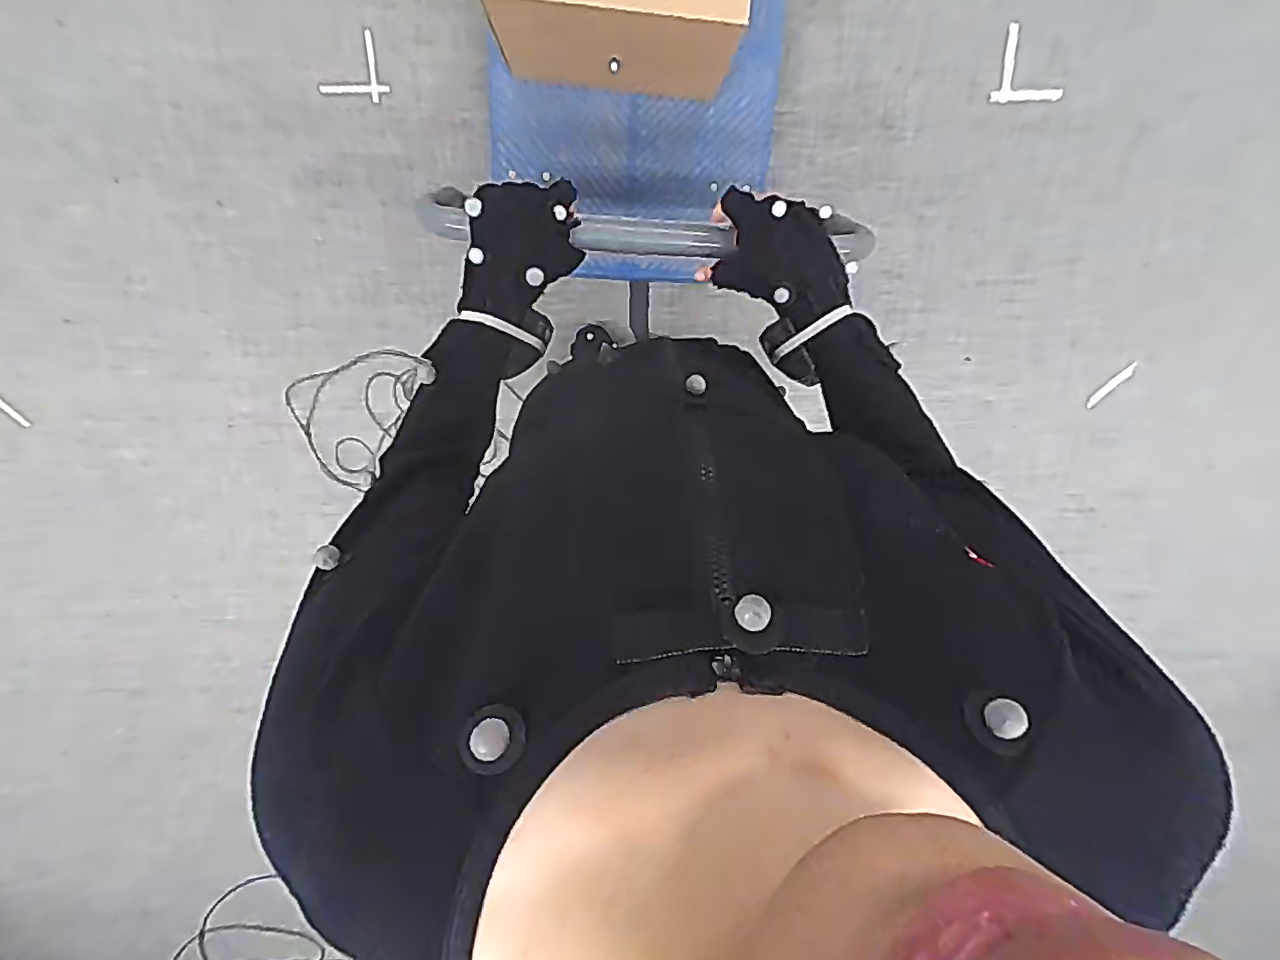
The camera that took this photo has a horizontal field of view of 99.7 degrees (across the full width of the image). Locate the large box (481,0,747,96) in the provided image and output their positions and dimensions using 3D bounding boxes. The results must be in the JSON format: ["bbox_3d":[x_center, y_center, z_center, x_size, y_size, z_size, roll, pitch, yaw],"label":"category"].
[{"bbox_3d":[-0.034,-0.887,0.903,0.408,0.320,0.320,4,106,-3],"label":"large box"}]
